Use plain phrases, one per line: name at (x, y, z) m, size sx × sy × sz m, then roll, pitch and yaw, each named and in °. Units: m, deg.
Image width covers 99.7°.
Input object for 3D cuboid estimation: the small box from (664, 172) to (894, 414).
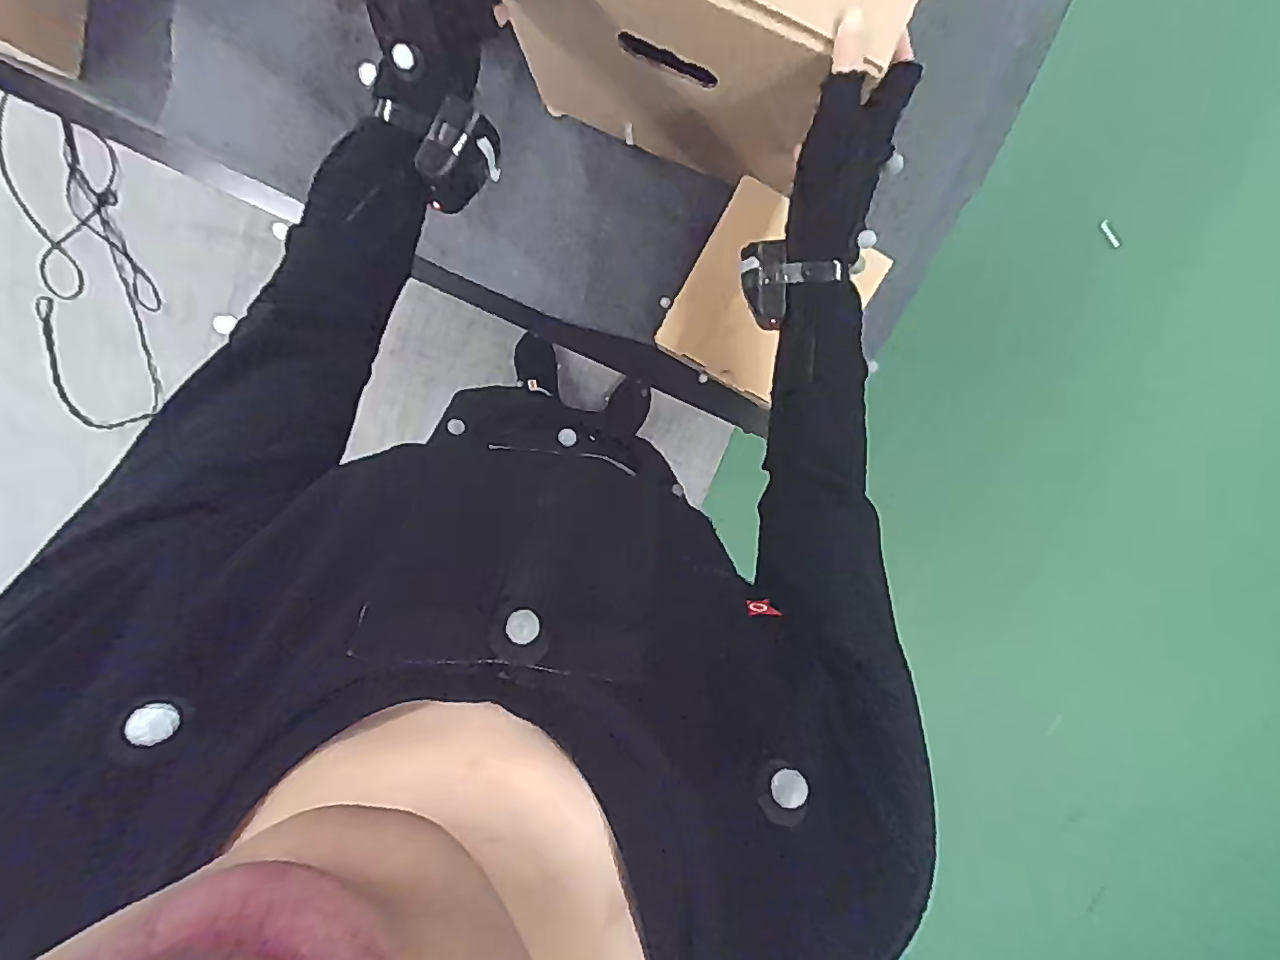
small box at (0.135, -0.197, 0.606) m, size 0.168 × 0.176 × 0.179 m, roll 29°, pitch 104°, yaw -4°
